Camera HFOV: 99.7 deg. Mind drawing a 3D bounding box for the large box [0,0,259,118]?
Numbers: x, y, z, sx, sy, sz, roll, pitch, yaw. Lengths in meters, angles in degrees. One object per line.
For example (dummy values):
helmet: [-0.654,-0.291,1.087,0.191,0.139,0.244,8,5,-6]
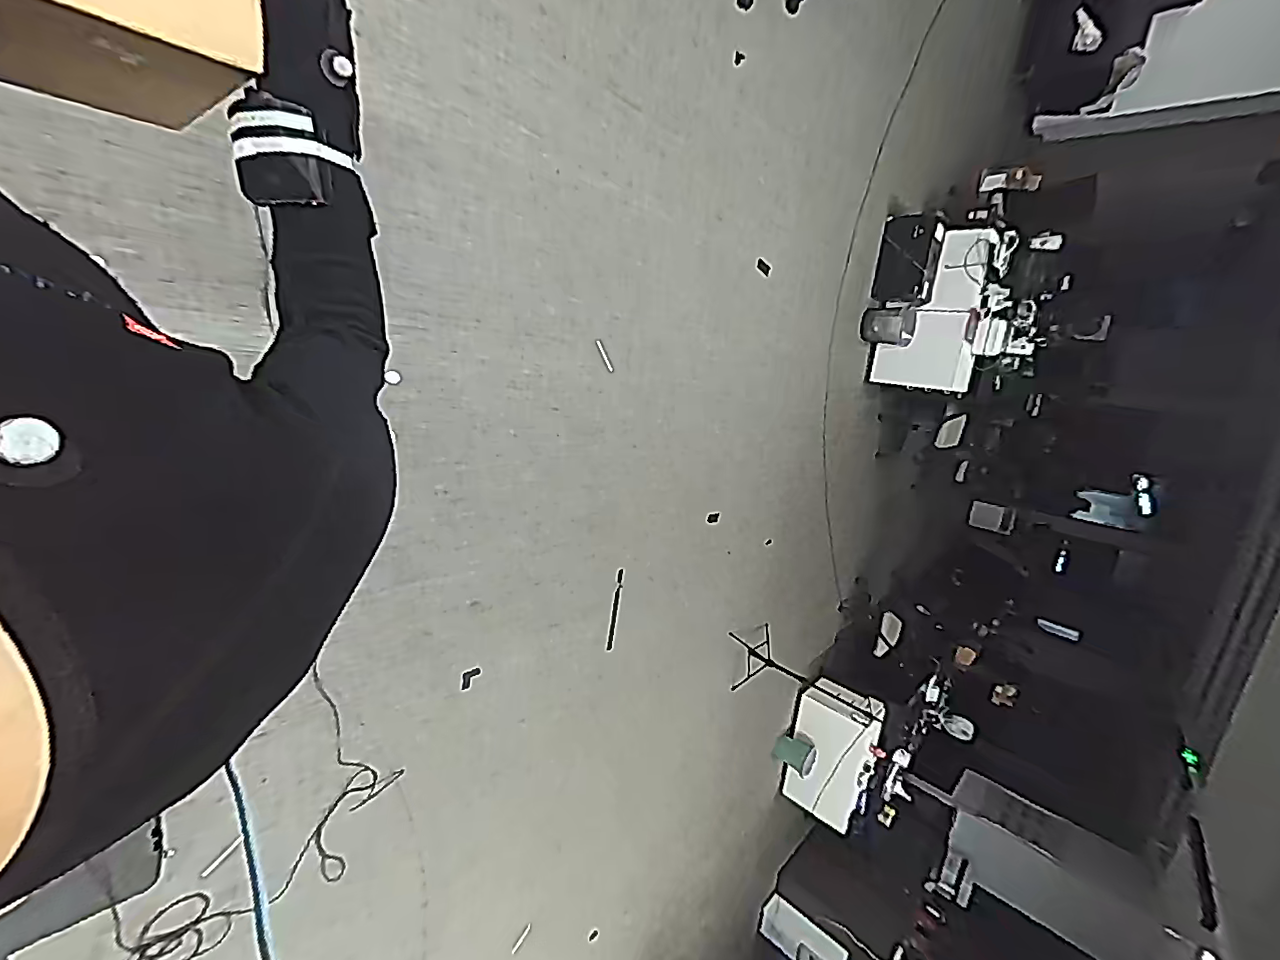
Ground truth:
large box: [-0.499,-0.459,0.295,0.408,0.320,0.320,-10,114,-47]
